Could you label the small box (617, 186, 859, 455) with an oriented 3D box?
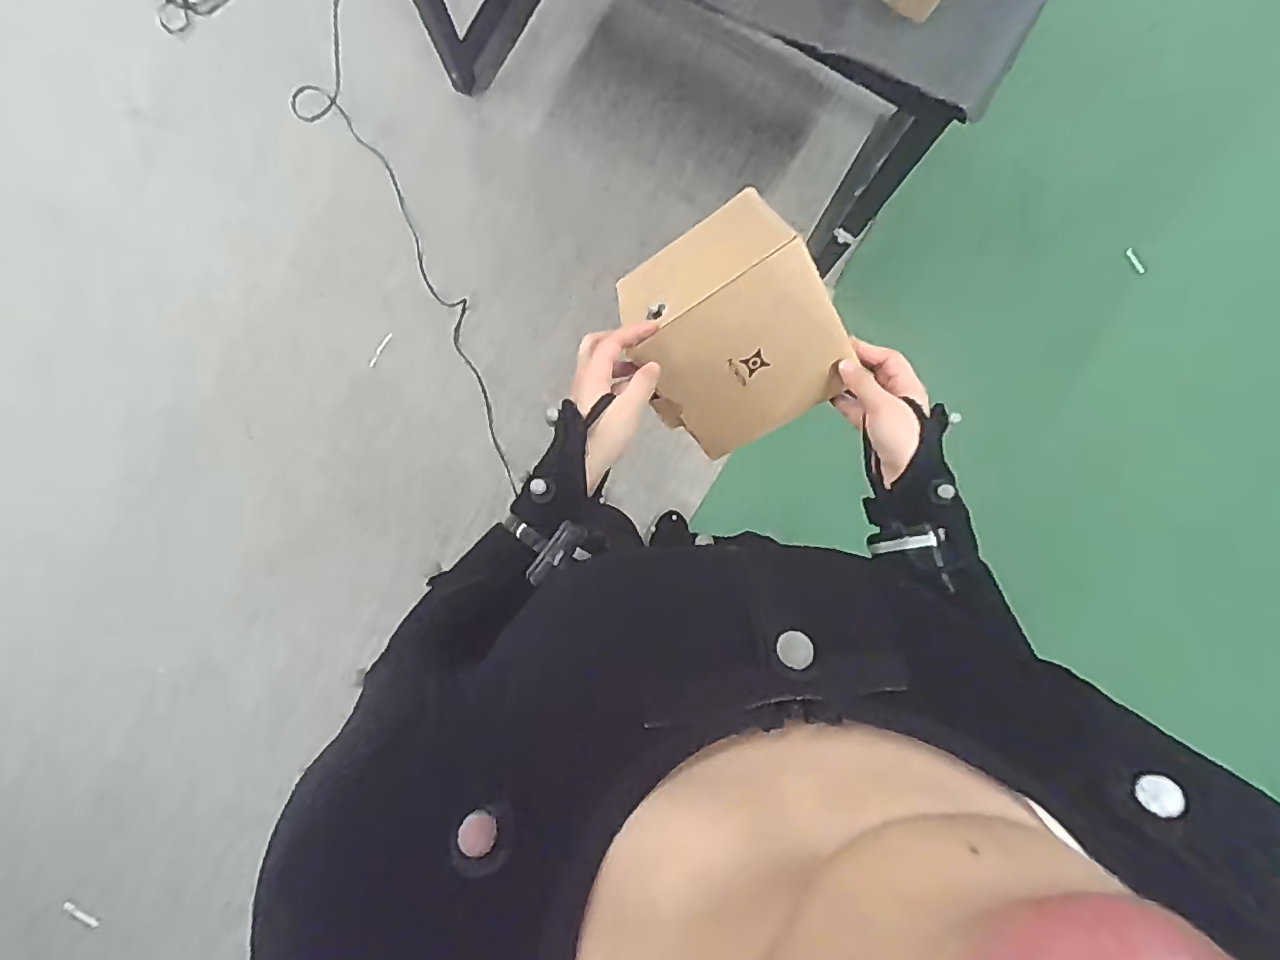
[{"bbox_3d":[0.089,-0.165,0.557,0.179,0.176,0.168,-30,127,20],"label":"small box"}]
